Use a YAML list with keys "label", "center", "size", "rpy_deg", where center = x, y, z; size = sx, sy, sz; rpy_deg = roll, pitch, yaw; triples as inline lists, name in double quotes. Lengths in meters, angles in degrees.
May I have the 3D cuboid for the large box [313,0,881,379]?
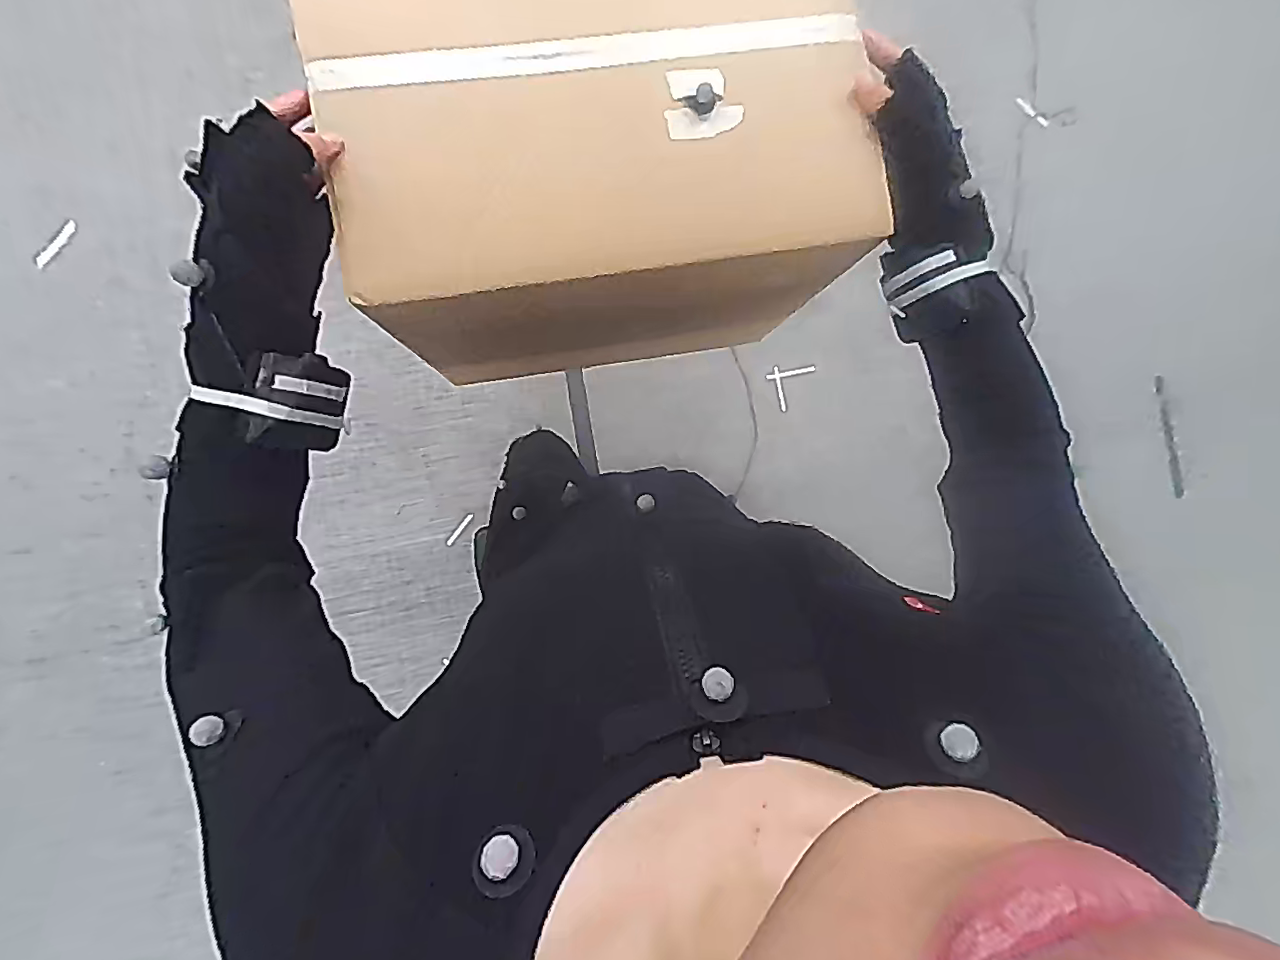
- label: "large box"
  center: [-0.046, -0.314, 0.554]
  size: [0.408, 0.320, 0.320]
  rpy_deg: [-11, 91, -7]
